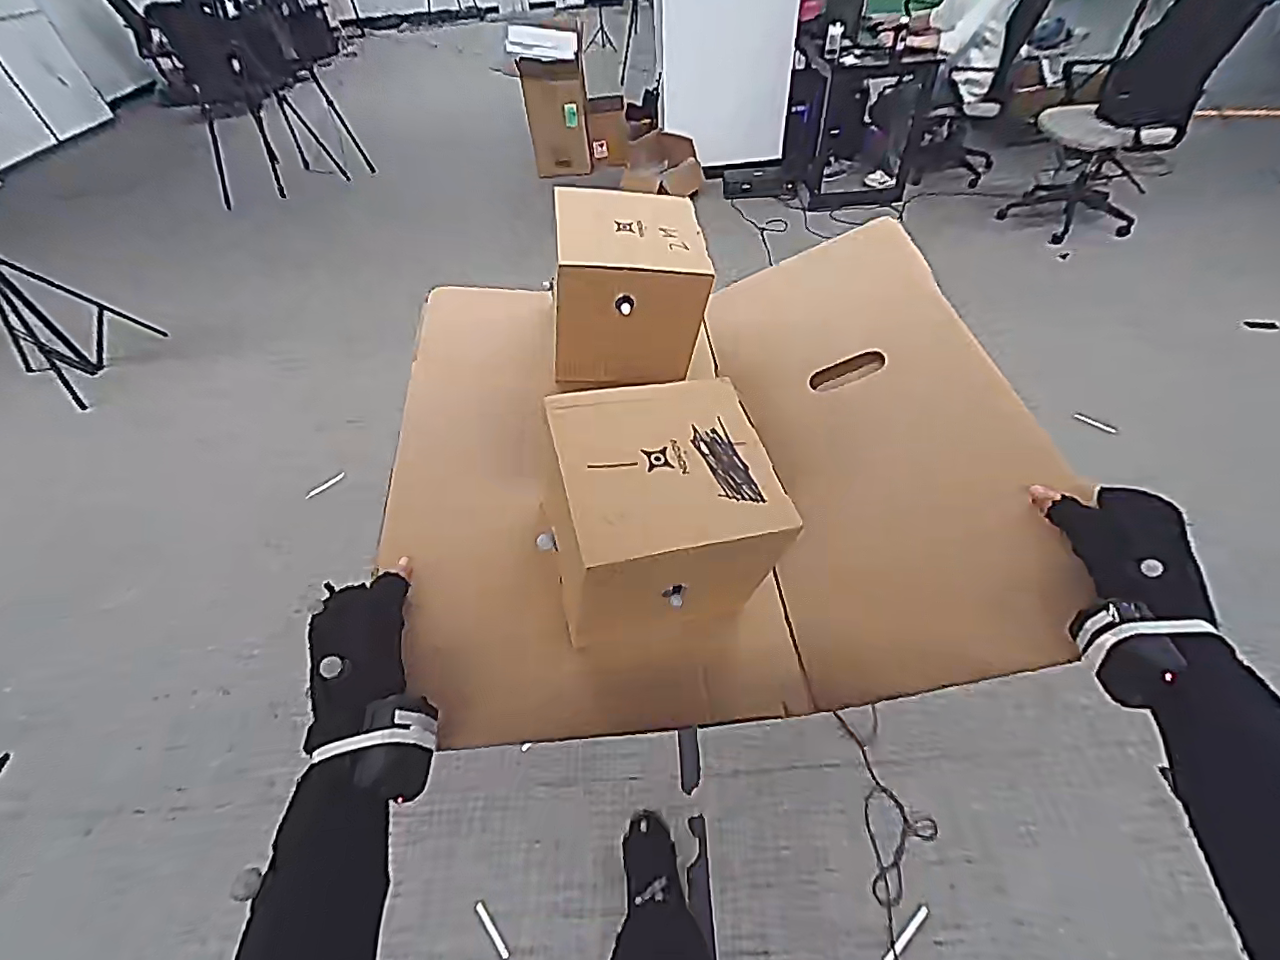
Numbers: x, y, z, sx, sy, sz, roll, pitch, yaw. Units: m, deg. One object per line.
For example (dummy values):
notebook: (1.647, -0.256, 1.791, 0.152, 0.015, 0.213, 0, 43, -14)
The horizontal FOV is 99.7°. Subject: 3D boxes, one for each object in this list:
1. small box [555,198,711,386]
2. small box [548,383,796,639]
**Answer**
small box: (-0.022, -0.238, 0.705, 0.179, 0.176, 0.168, 0, 54, -11)
small box: (0.012, 0.032, 0.513, 0.179, 0.176, 0.168, -9, 57, -15)
